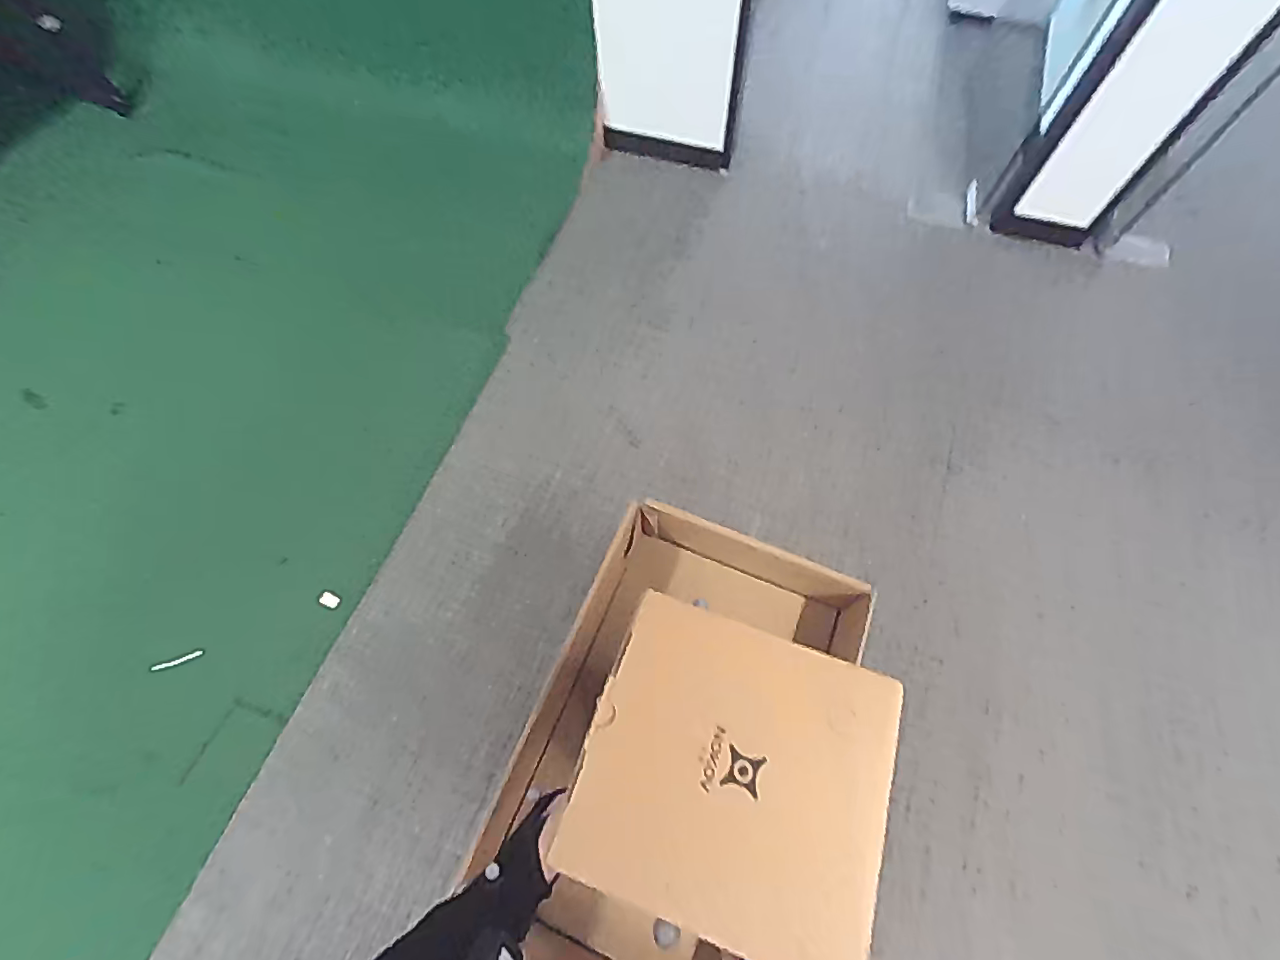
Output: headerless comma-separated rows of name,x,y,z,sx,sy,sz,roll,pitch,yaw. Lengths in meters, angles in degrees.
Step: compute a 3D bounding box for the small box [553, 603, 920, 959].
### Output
small box,0.062,0.209,0.379,0.179,0.176,0.168,18,64,10
